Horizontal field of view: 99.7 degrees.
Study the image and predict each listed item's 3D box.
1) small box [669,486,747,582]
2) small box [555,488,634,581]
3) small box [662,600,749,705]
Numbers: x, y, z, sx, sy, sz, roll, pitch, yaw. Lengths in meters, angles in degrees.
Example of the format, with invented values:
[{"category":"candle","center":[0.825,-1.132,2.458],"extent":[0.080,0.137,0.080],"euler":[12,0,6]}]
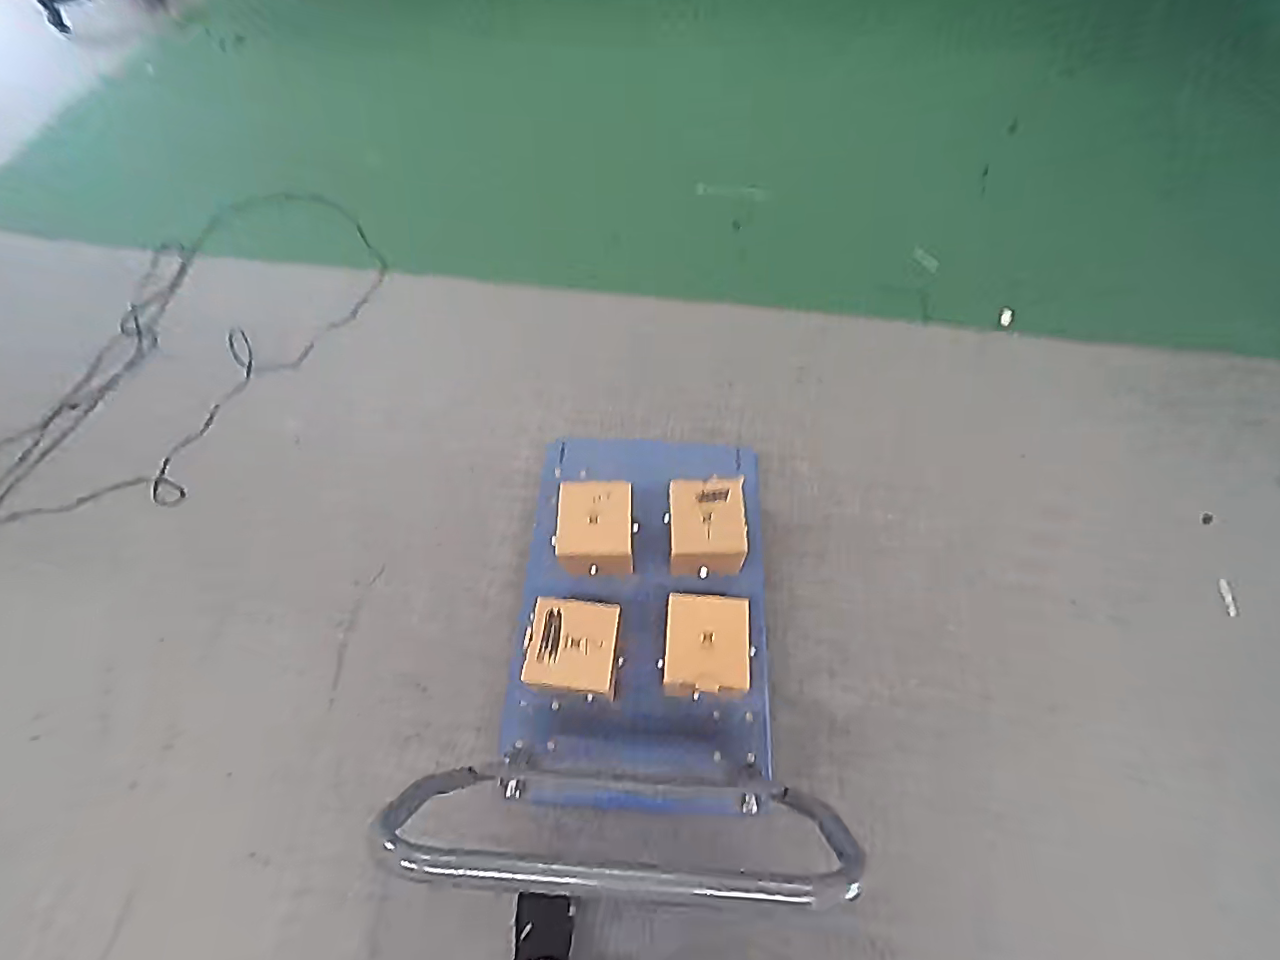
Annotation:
[{"category":"small box","center":[0.152,0.129,1.272],"extent":[0.168,0.176,0.179],"euler":[-1,63,2]},{"category":"small box","center":[-0.101,0.133,1.277],"extent":[0.168,0.176,0.179],"euler":[0,62,1]},{"category":"small box","center":[0.135,0.368,1.147],"extent":[0.168,0.176,0.179],"euler":[4,62,3]}]
